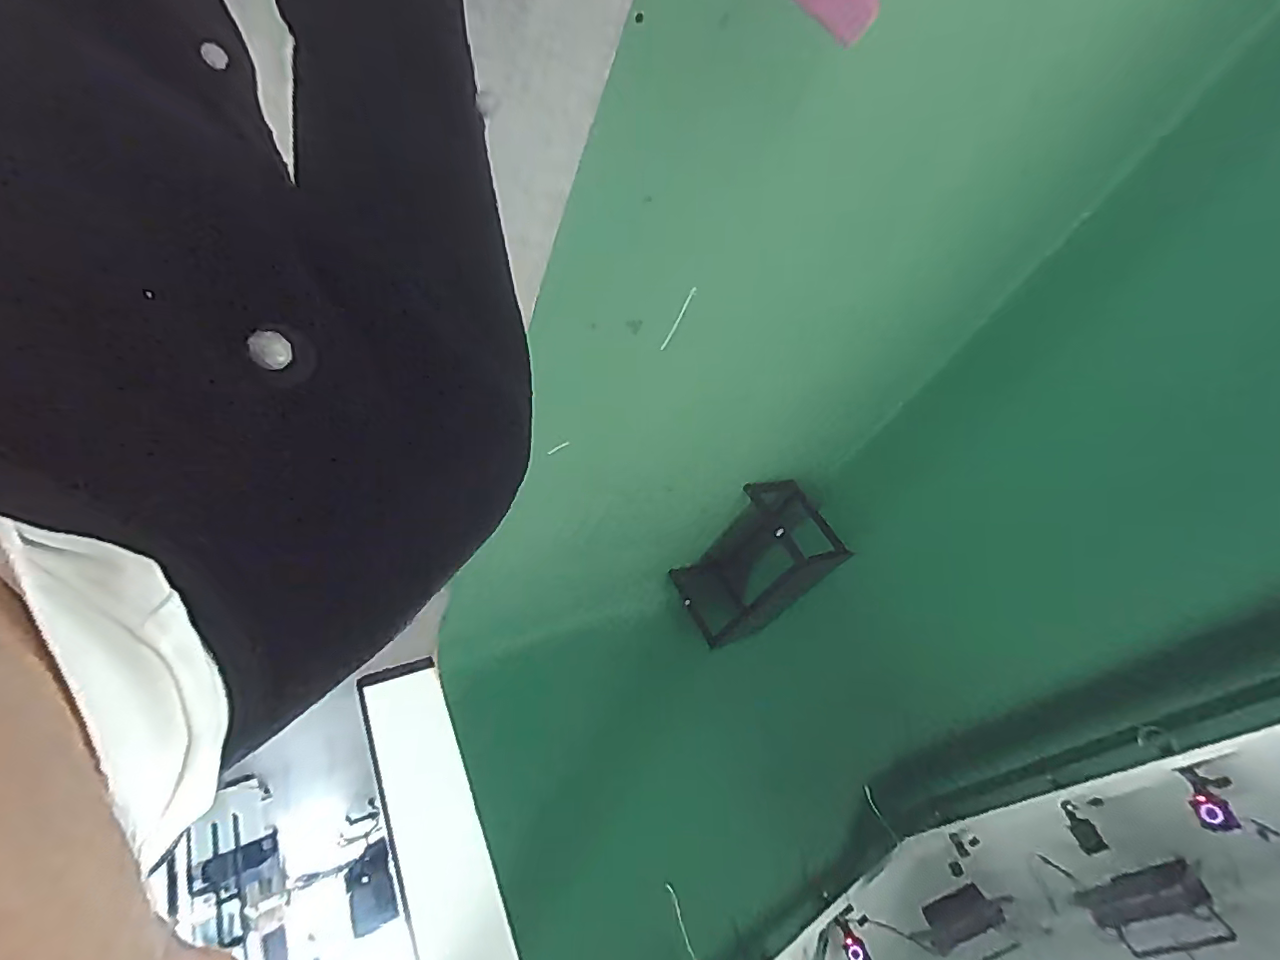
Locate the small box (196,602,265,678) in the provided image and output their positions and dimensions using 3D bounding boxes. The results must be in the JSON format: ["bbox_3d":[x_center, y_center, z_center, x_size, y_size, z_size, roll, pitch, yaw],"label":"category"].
[{"bbox_3d":[-1.366,0.522,1.800,0.168,0.176,0.179,-4,141,-41],"label":"small box"}]
